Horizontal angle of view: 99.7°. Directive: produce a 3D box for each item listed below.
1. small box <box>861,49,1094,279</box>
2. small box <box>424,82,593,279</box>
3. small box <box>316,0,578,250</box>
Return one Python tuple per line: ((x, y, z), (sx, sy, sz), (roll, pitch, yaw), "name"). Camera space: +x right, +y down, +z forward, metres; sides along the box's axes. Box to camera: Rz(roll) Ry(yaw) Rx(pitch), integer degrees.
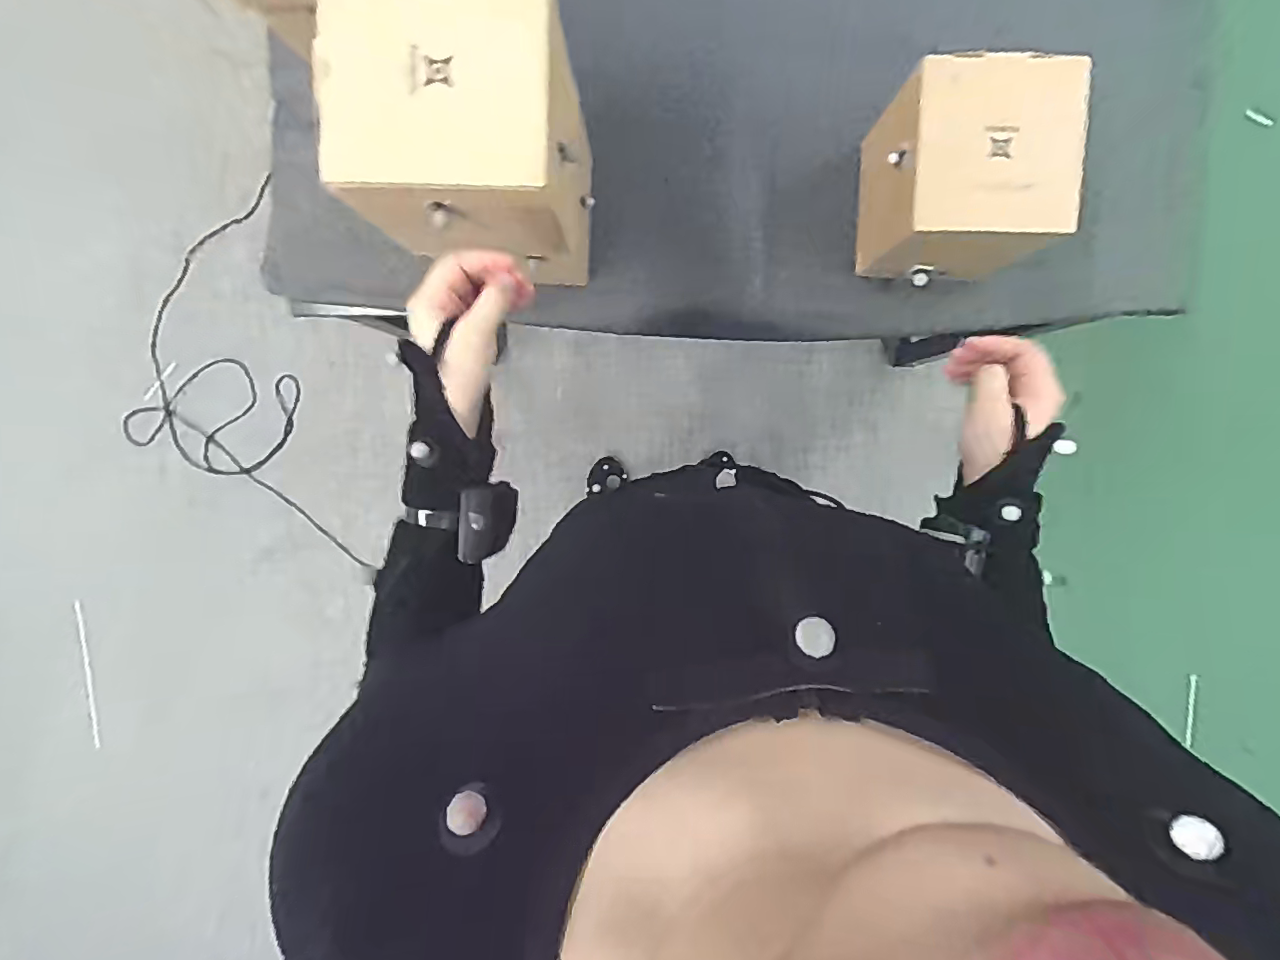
((0.369, -0.347, 0.623), (0.168, 0.176, 0.179), (1, 95, 2), "small box")
((-0.152, -0.345, 0.641), (0.179, 0.176, 0.168), (3, 96, 2), "small box")
((-0.151, -0.316, 0.481), (0.179, 0.176, 0.168), (2, 96, 2), "small box")
